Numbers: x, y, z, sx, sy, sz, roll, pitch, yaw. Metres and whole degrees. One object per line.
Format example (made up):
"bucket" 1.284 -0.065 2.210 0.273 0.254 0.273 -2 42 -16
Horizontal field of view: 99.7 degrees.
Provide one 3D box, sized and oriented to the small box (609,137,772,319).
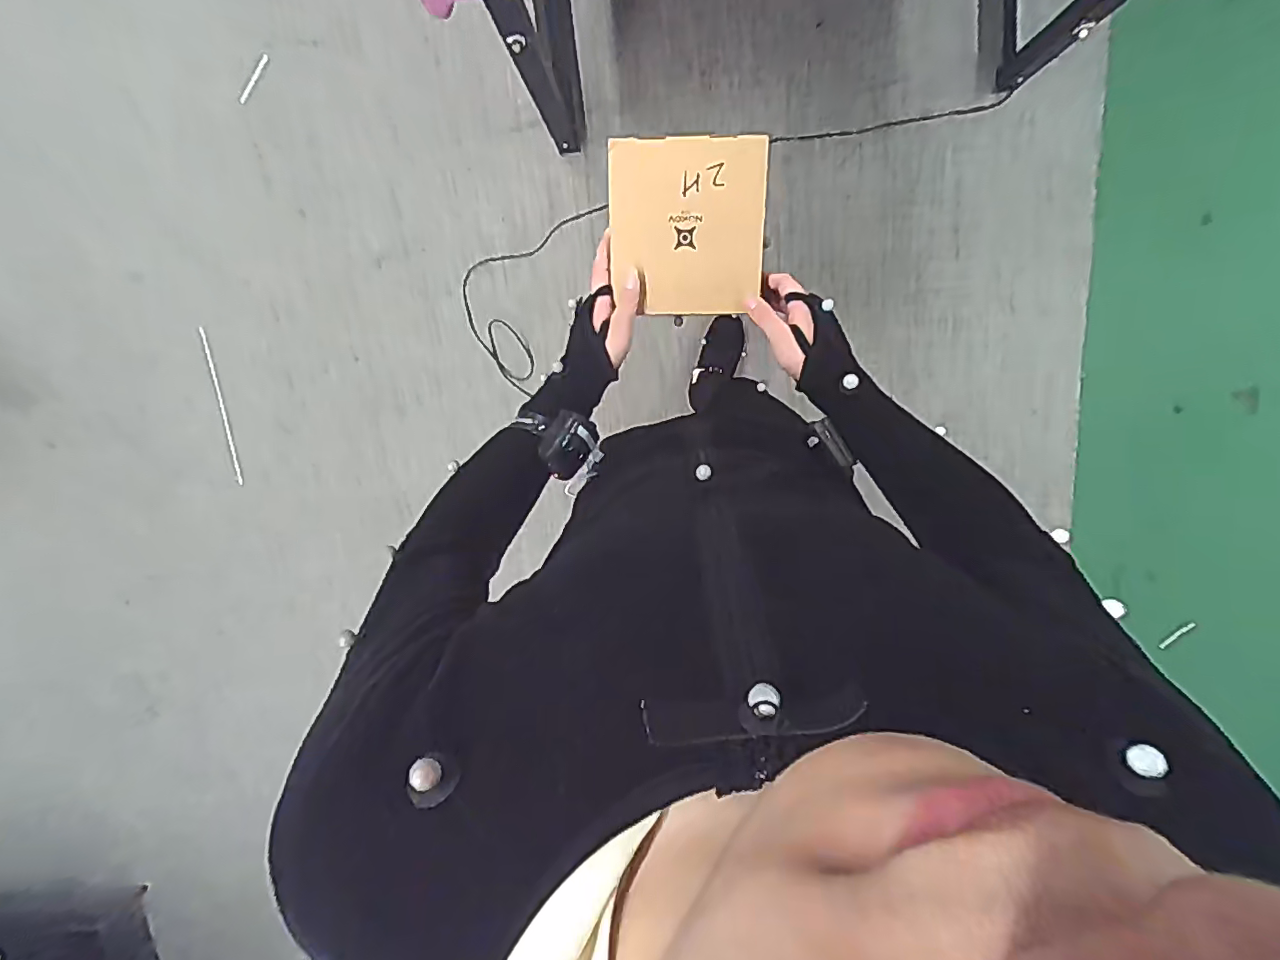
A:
"small box" 0.054 -0.287 0.643 0.168 0.176 0.179 1 108 2
